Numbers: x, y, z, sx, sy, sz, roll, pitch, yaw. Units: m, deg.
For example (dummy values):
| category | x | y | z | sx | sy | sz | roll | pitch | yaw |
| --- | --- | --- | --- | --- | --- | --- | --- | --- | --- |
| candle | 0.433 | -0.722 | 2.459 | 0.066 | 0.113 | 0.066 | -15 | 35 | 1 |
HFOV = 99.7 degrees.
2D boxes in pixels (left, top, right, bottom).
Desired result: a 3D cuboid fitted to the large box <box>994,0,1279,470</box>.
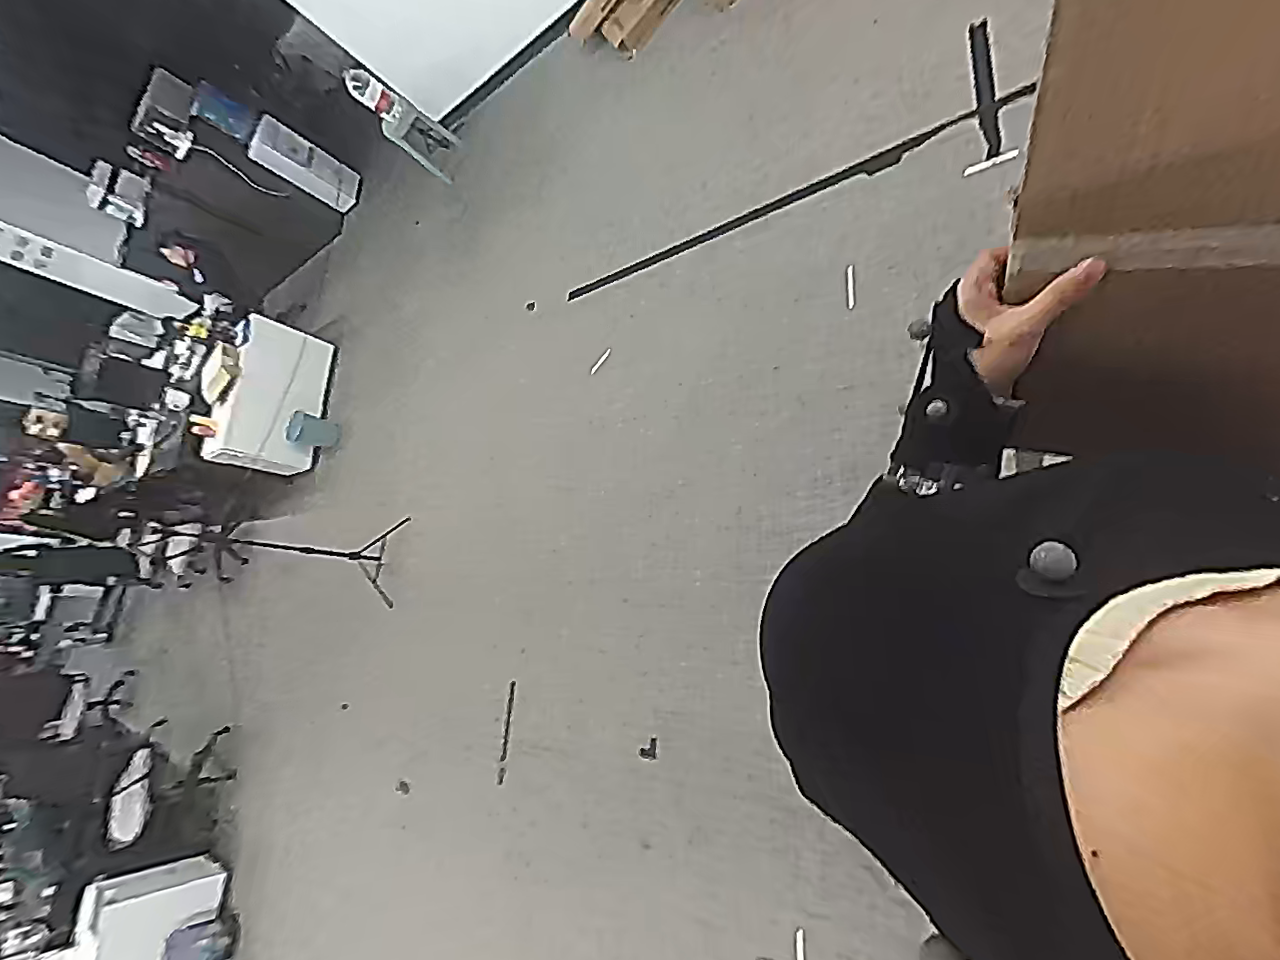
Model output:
| category | x | y | z | sx | sy | sz | roll | pitch | yaw |
| --- | --- | --- | --- | --- | --- | --- | --- | --- | --- |
| large box | 0.478 | -0.208 | 0.322 | 0.408 | 0.320 | 0.320 | 11 | 43 | 34 |
